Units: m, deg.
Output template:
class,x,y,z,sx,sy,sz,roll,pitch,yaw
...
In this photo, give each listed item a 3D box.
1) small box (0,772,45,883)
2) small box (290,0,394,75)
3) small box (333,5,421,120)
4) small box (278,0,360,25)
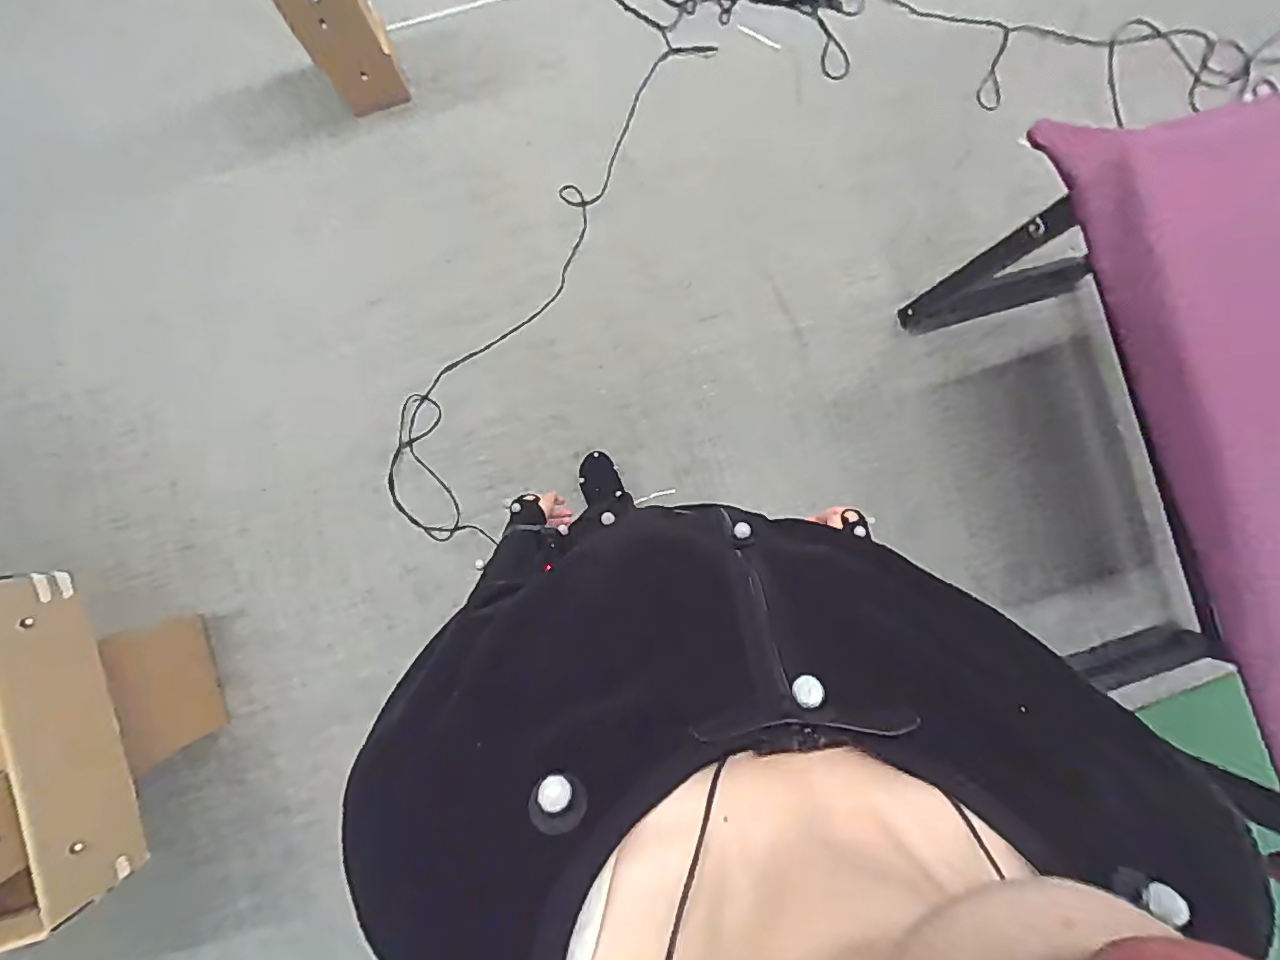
class,x,y,z,sx,sy,sz,roll,pitch,yaw
small box,-1.201,0.632,0.930,0.168,0.176,0.179,-14,87,-3
small box,-0.738,-1.140,1.319,0.179,0.176,0.168,-18,89,-2
small box,-0.733,-1.133,1.483,0.179,0.176,0.168,-18,87,-3
small box,-0.725,-1.136,1.156,0.179,0.176,0.168,-20,88,-3
